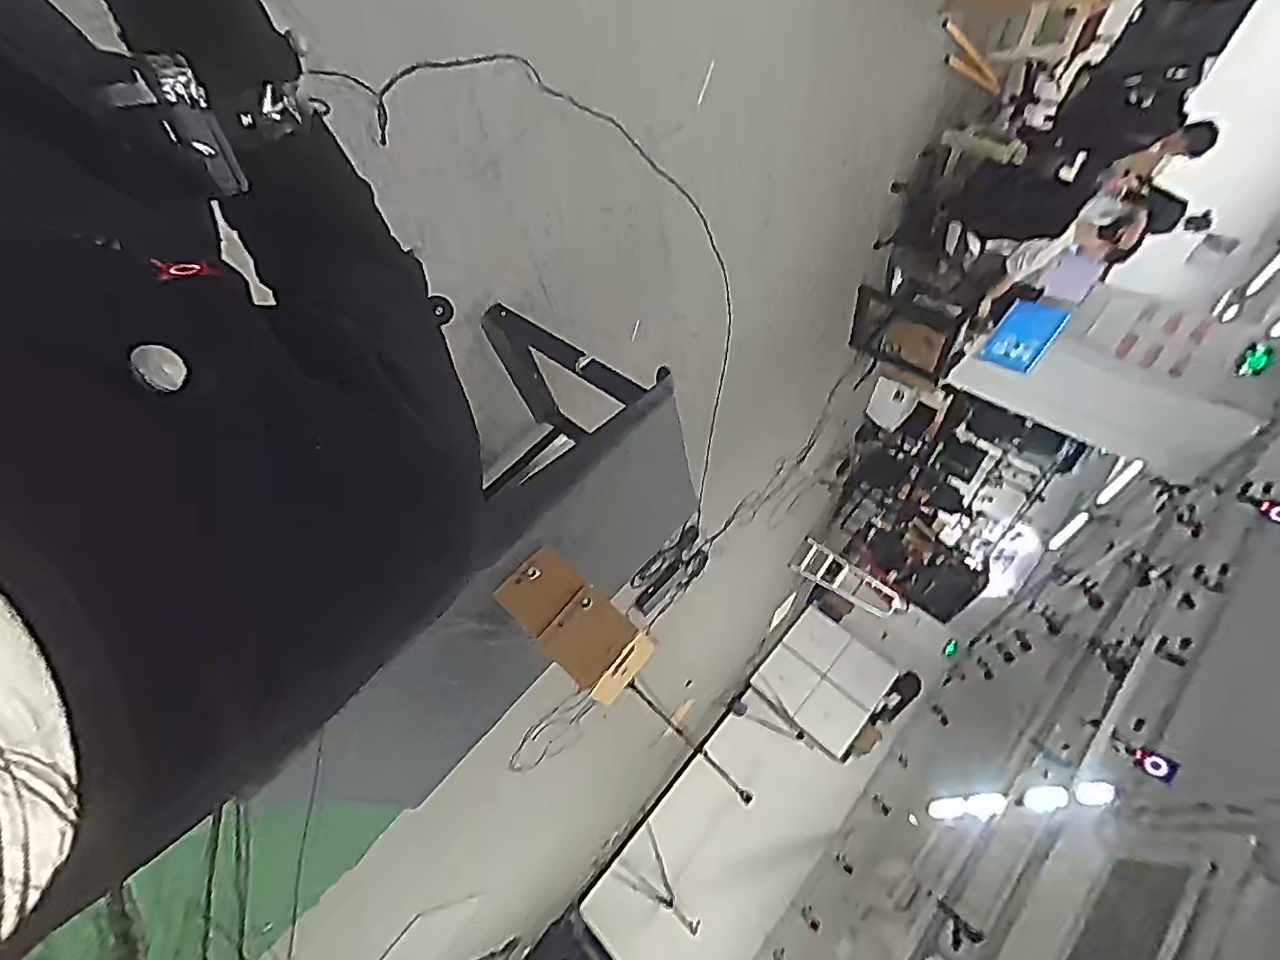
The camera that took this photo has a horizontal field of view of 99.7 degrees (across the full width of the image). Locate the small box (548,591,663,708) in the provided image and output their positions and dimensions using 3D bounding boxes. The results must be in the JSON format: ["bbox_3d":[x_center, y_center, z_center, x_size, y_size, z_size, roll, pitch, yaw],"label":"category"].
[{"bbox_3d":[-0.075,0.371,1.199,0.168,0.176,0.179,-48,152,-15],"label":"small box"}]

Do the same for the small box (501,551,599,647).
[{"bbox_3d":[-0.195,0.298,1.285,0.168,0.176,0.179,-47,149,-18],"label":"small box"}]
